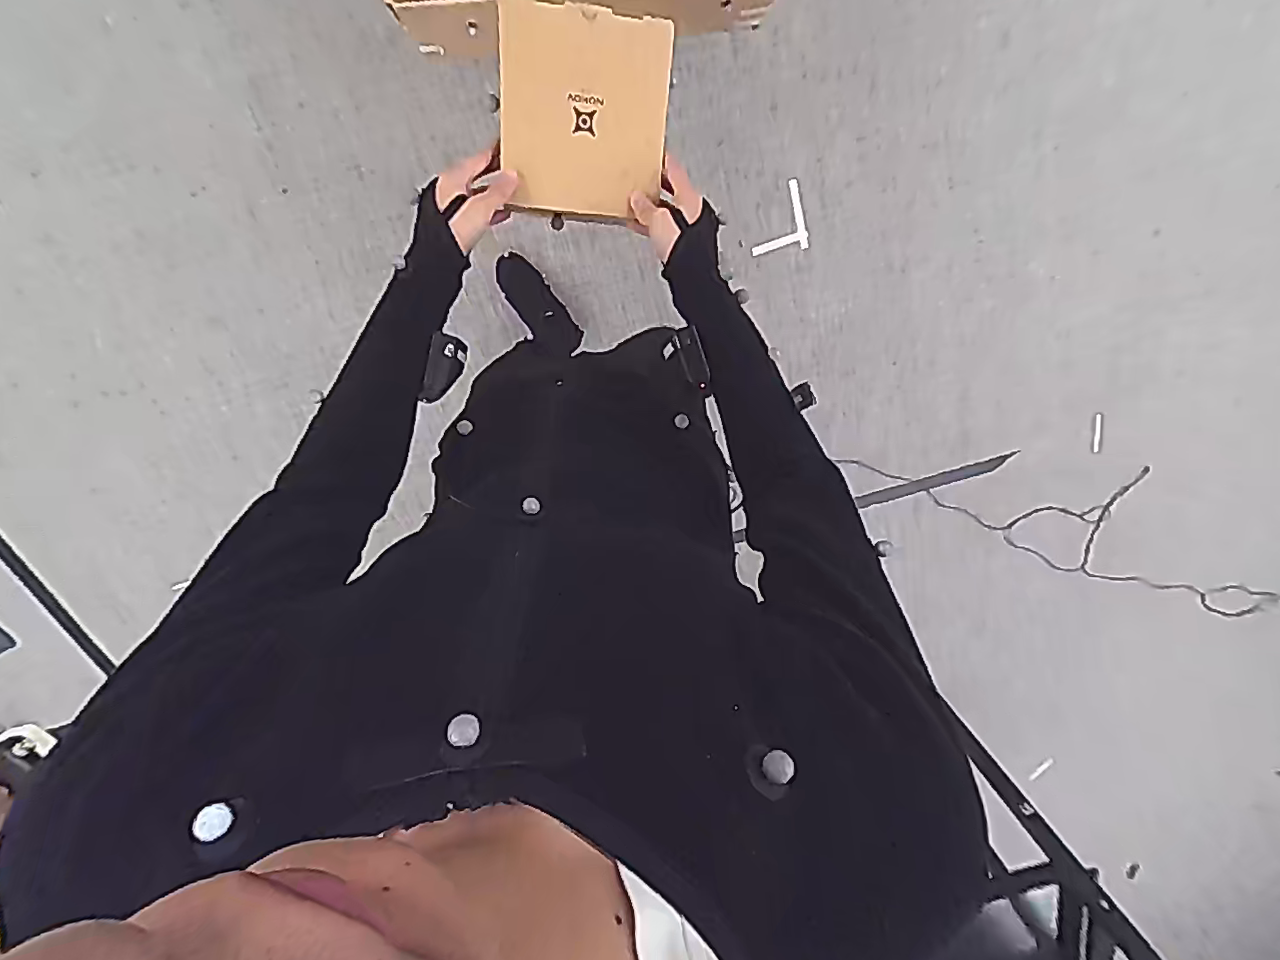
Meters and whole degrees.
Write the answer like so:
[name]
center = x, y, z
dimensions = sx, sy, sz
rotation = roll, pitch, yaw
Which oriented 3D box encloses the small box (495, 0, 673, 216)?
[small box]
center = -0.067, -0.398, 0.599
dimensions = 0.168, 0.176, 0.179
rotation = 1, 112, -10
